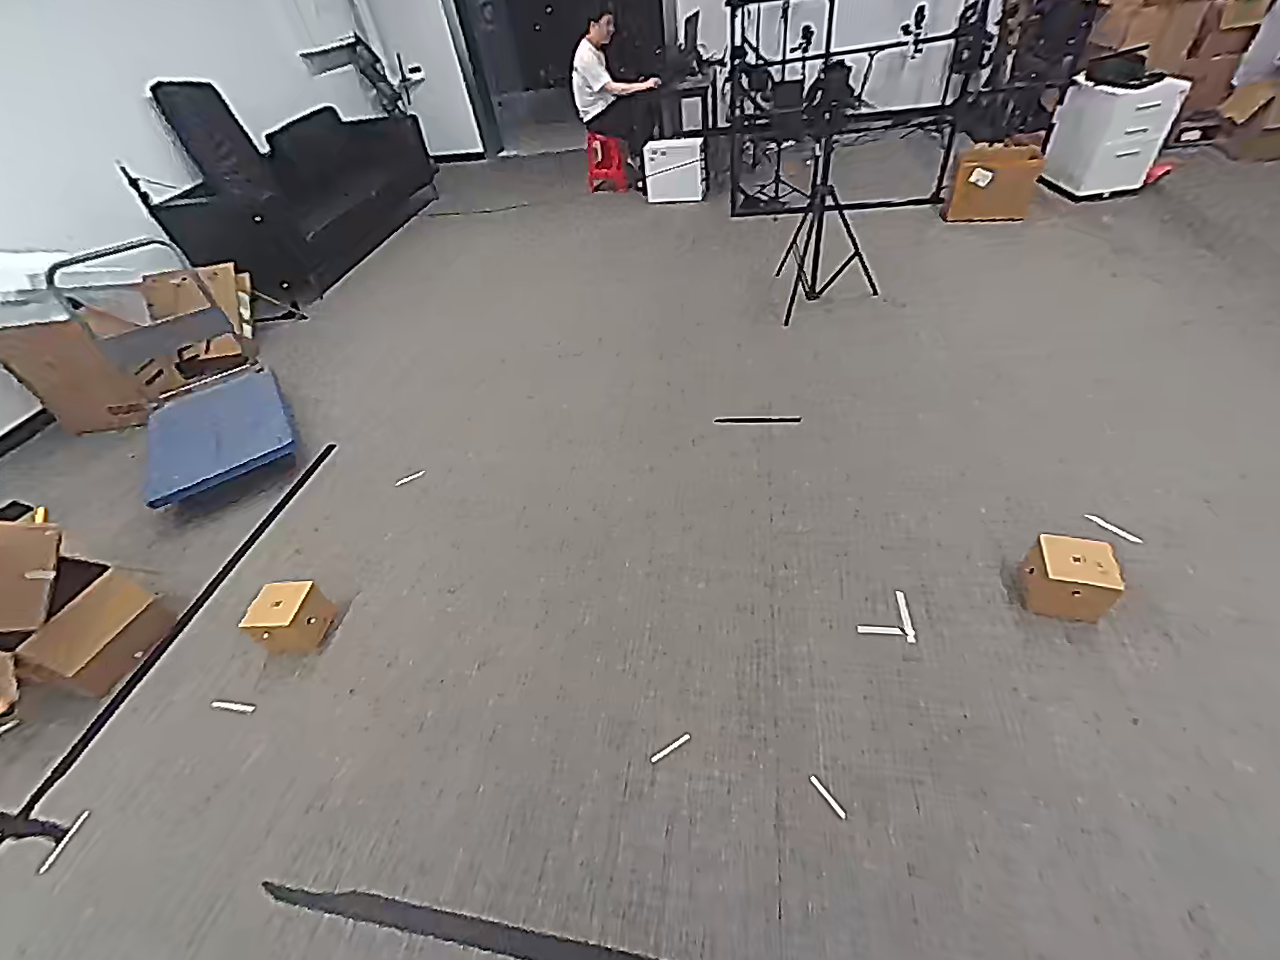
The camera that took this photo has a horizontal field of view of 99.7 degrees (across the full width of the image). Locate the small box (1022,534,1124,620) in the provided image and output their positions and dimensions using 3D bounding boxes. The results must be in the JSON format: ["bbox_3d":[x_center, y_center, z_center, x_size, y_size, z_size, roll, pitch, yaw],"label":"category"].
[{"bbox_3d":[1.231,0.280,1.556,0.179,0.176,0.168,8,47,18],"label":"small box"}]

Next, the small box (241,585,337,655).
[{"bbox_3d":[-1.147,0.463,1.785,0.179,0.176,0.168,-4,44,7],"label":"small box"}]
